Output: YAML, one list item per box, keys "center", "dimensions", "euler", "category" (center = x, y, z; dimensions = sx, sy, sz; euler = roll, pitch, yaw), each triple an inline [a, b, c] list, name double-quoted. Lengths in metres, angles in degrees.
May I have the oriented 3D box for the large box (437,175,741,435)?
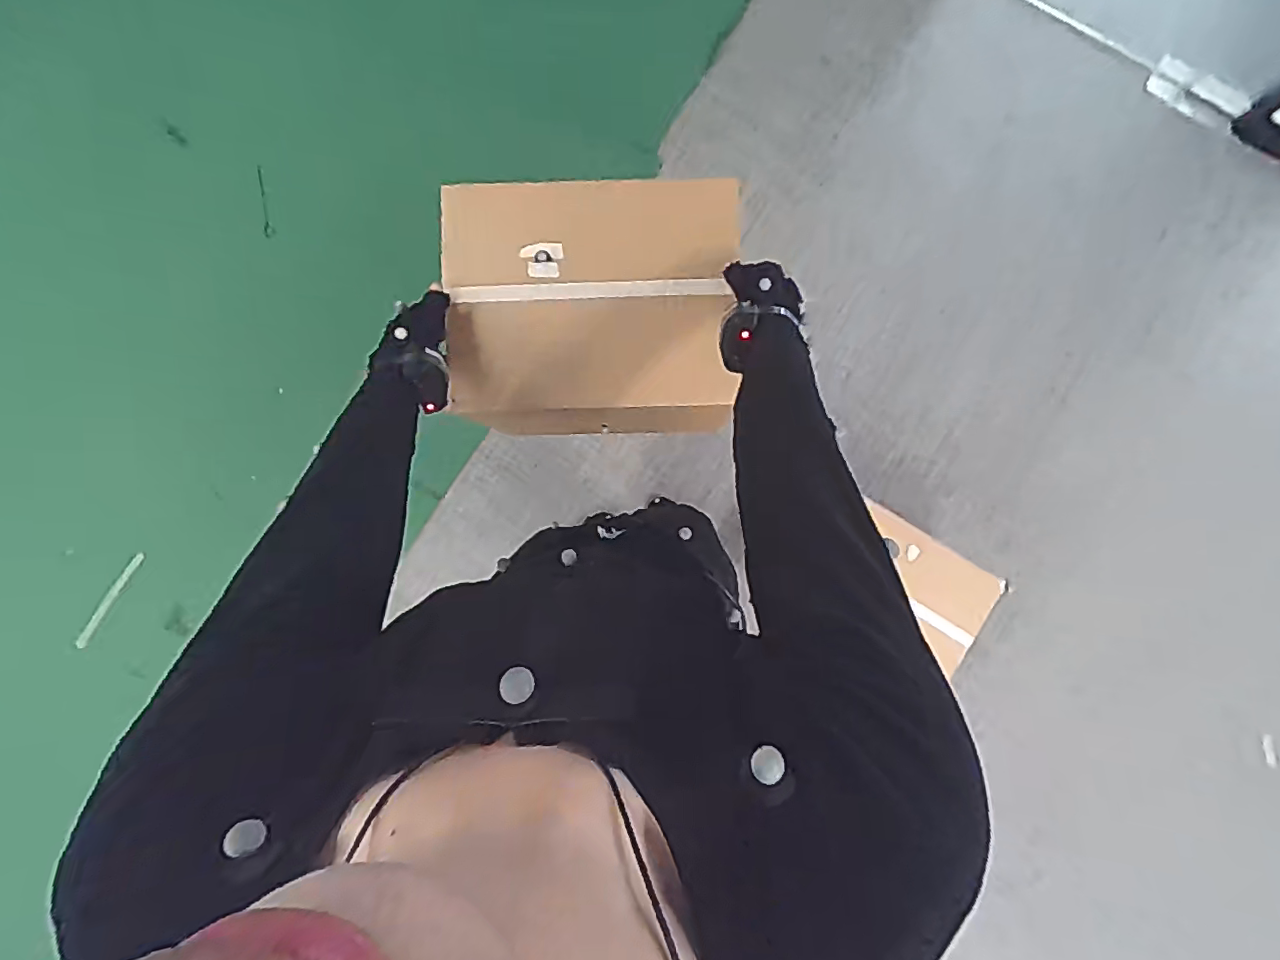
- center: [-0.068, -0.248, 0.879]
  dimensions: [0.408, 0.320, 0.320]
  euler: [-3, 88, 0]
  category: "large box"
